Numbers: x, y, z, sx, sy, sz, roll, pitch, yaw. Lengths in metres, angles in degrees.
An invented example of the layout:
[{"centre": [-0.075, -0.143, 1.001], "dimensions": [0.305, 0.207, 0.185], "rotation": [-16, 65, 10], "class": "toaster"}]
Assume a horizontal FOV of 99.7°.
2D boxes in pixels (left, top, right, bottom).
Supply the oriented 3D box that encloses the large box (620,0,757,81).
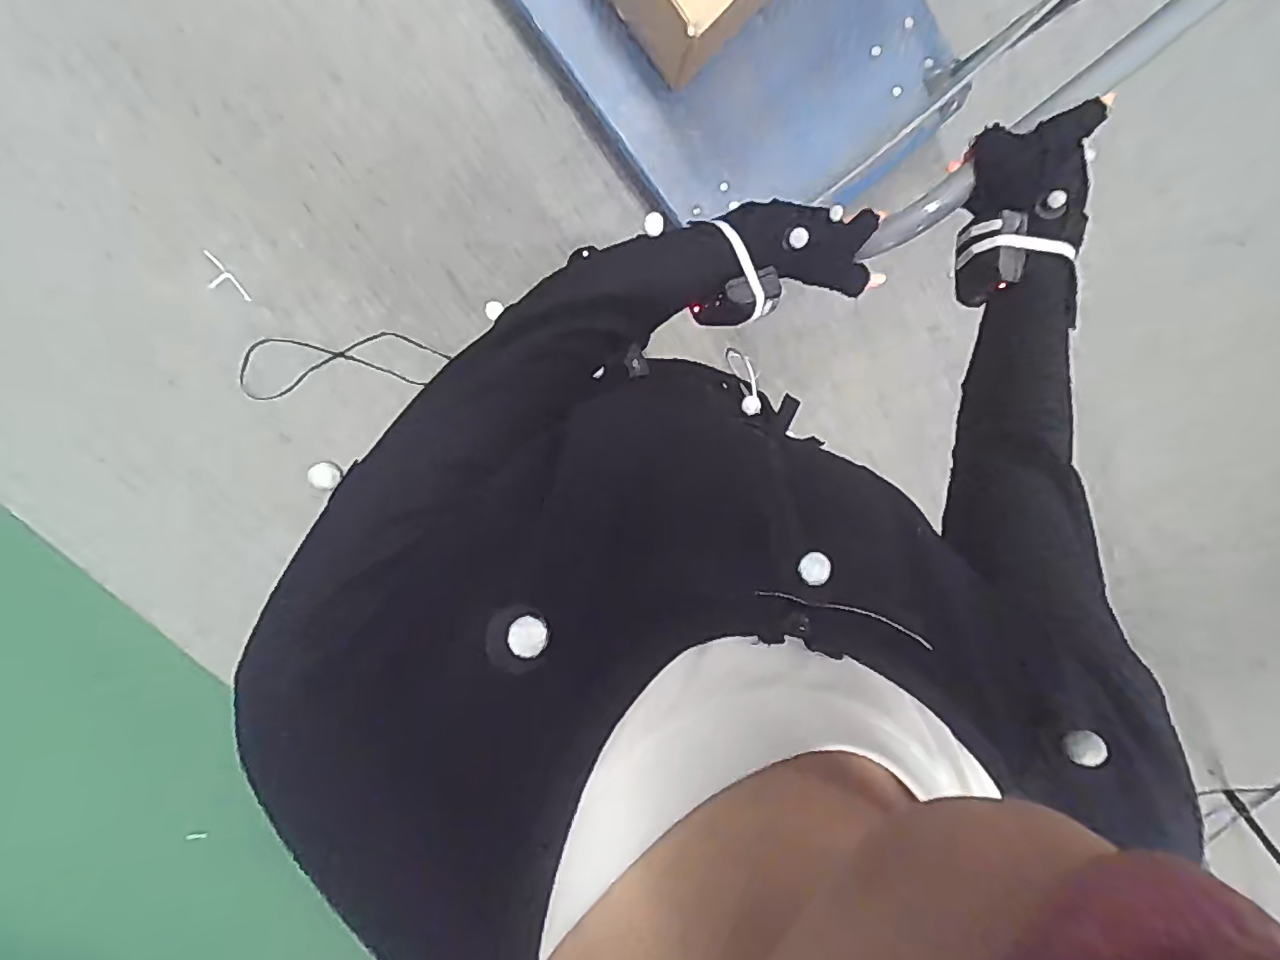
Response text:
[{"centre": [0.125, -0.914, 0.794], "dimensions": [0.408, 0.320, 0.320], "rotation": [-40, 109, 15], "class": "large box"}]
